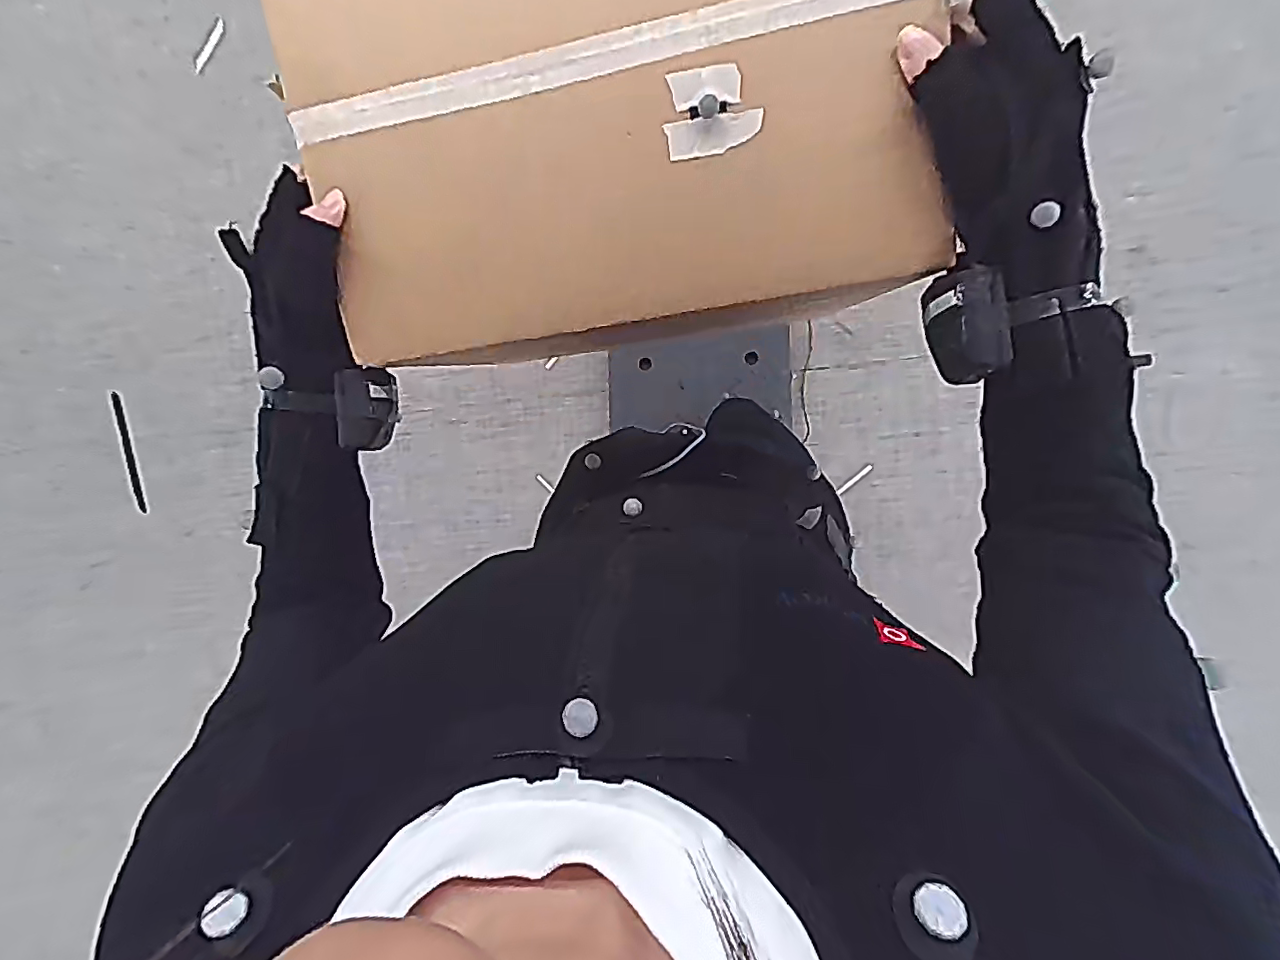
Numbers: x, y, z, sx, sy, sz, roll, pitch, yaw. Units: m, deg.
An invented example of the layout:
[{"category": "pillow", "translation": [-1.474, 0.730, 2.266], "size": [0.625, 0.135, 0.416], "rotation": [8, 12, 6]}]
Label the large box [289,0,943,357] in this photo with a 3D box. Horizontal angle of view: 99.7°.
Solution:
[{"category": "large box", "translation": [-0.010, -0.300, 0.488], "size": [0.408, 0.320, 0.320], "rotation": [-8, 102, 8]}]
